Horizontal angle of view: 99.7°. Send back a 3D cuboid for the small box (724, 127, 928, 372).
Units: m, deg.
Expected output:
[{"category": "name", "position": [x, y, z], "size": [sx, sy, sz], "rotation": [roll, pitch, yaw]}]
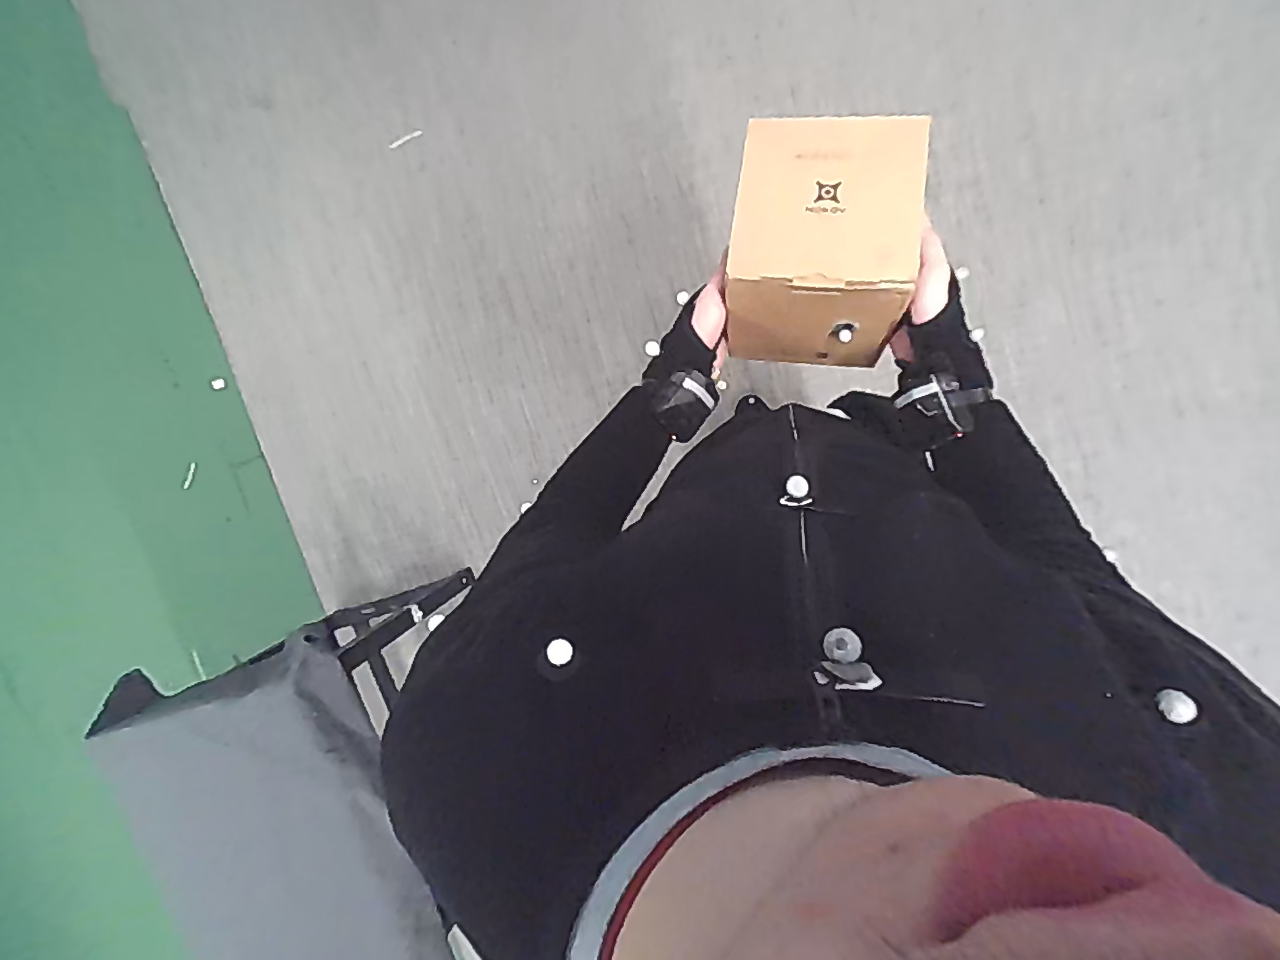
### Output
[{"category": "small box", "position": [0.184, -0.231, 0.571], "size": [0.168, 0.176, 0.179], "rotation": [8, 76, 11]}]
